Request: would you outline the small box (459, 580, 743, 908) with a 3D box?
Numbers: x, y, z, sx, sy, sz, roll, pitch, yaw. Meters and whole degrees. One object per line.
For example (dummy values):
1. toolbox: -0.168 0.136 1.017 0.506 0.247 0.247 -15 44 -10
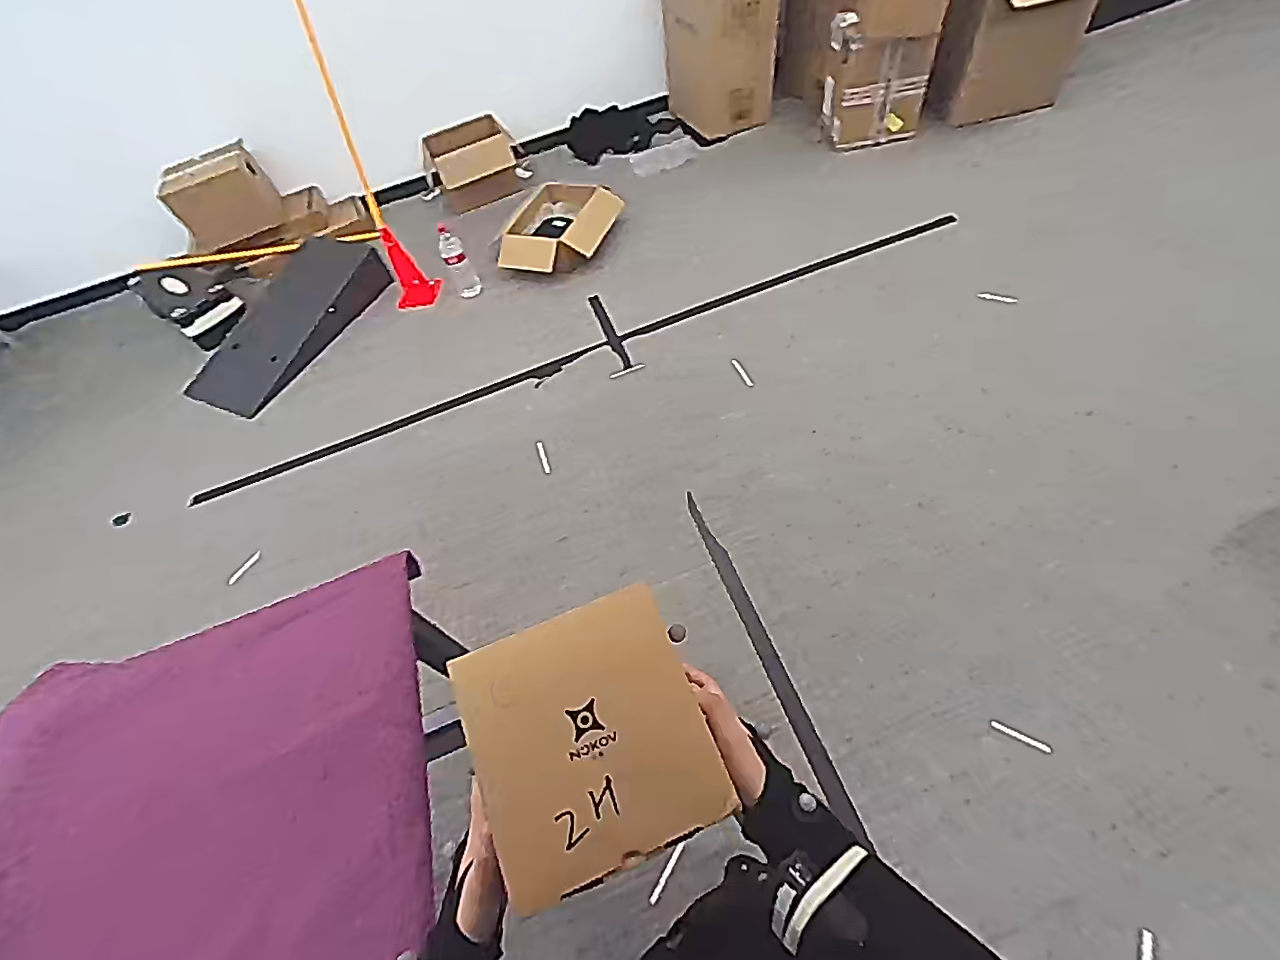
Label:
1. small box: -0.034 0.212 0.468 0.168 0.176 0.179 -21 68 -8
